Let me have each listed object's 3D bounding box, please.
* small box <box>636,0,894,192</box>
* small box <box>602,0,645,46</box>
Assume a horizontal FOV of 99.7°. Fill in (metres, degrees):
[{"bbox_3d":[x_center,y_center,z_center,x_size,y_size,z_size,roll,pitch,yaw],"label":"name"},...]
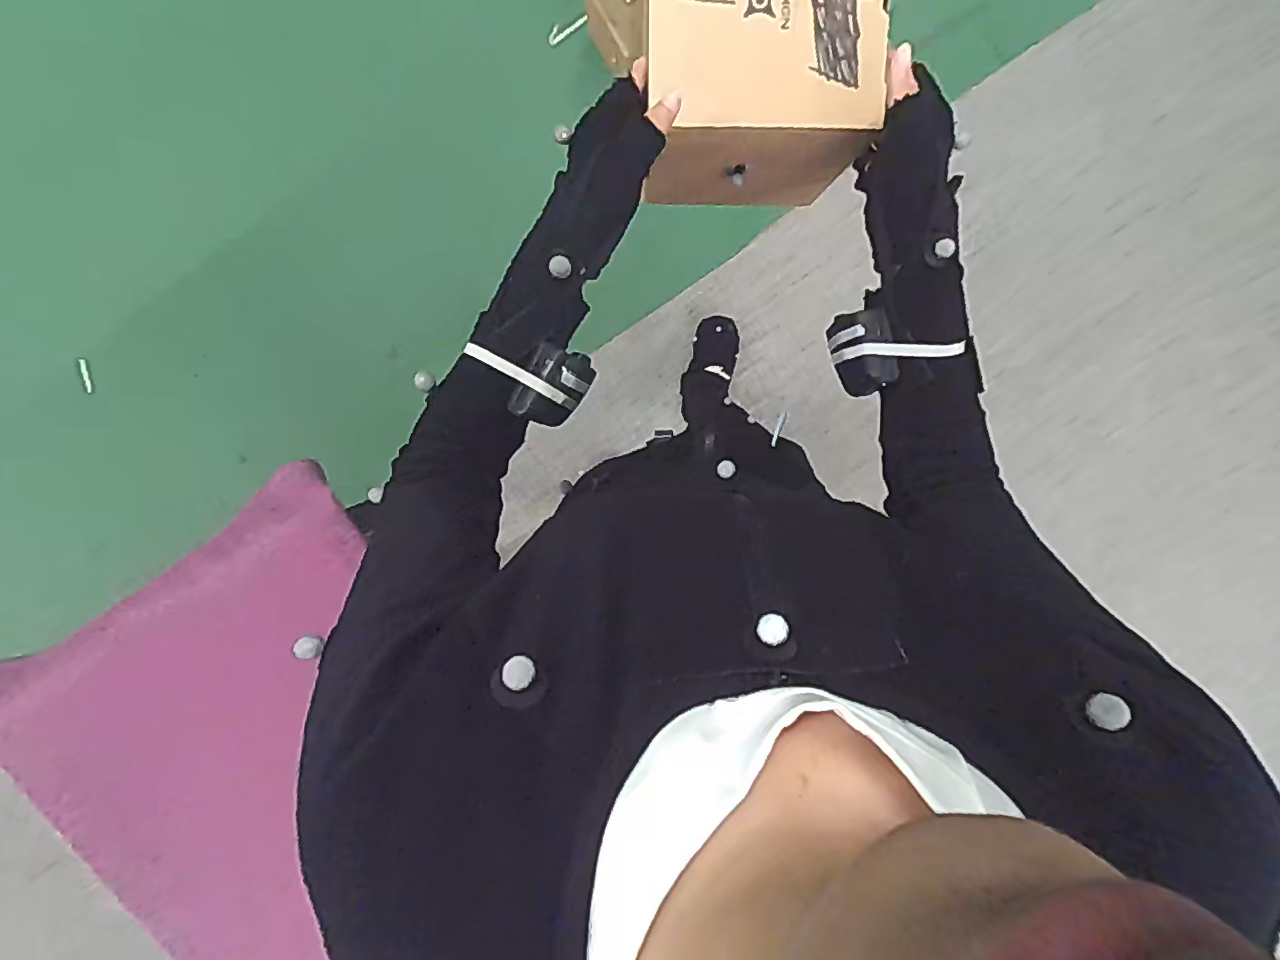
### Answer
[{"bbox_3d":[0.090,-0.359,0.451,0.179,0.176,0.168,3,98,-1],"label":"small box"},{"bbox_3d":[0.006,-1.012,1.054,0.179,0.176,0.168,-33,98,4],"label":"small box"}]
